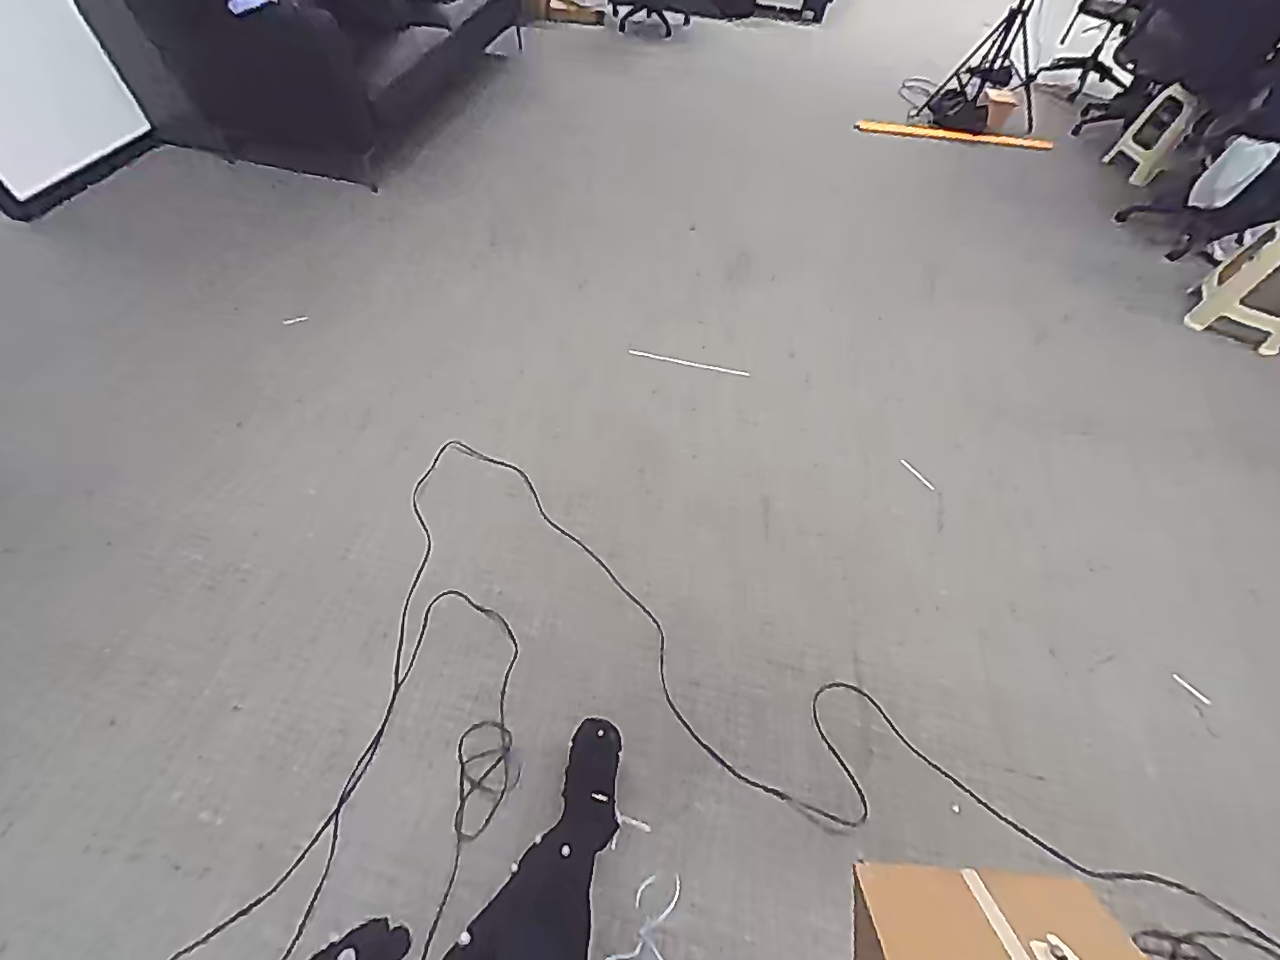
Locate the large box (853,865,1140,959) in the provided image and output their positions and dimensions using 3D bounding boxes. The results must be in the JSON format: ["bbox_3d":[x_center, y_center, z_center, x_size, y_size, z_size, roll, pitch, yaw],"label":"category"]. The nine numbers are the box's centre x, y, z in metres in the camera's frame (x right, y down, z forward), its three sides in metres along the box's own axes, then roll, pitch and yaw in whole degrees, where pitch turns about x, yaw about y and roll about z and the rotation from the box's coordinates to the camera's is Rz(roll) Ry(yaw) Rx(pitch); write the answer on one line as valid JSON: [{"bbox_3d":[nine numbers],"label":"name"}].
[{"bbox_3d":[0.454,0.741,0.610,0.320,0.408,0.320,0,94,7],"label":"large box"}]
